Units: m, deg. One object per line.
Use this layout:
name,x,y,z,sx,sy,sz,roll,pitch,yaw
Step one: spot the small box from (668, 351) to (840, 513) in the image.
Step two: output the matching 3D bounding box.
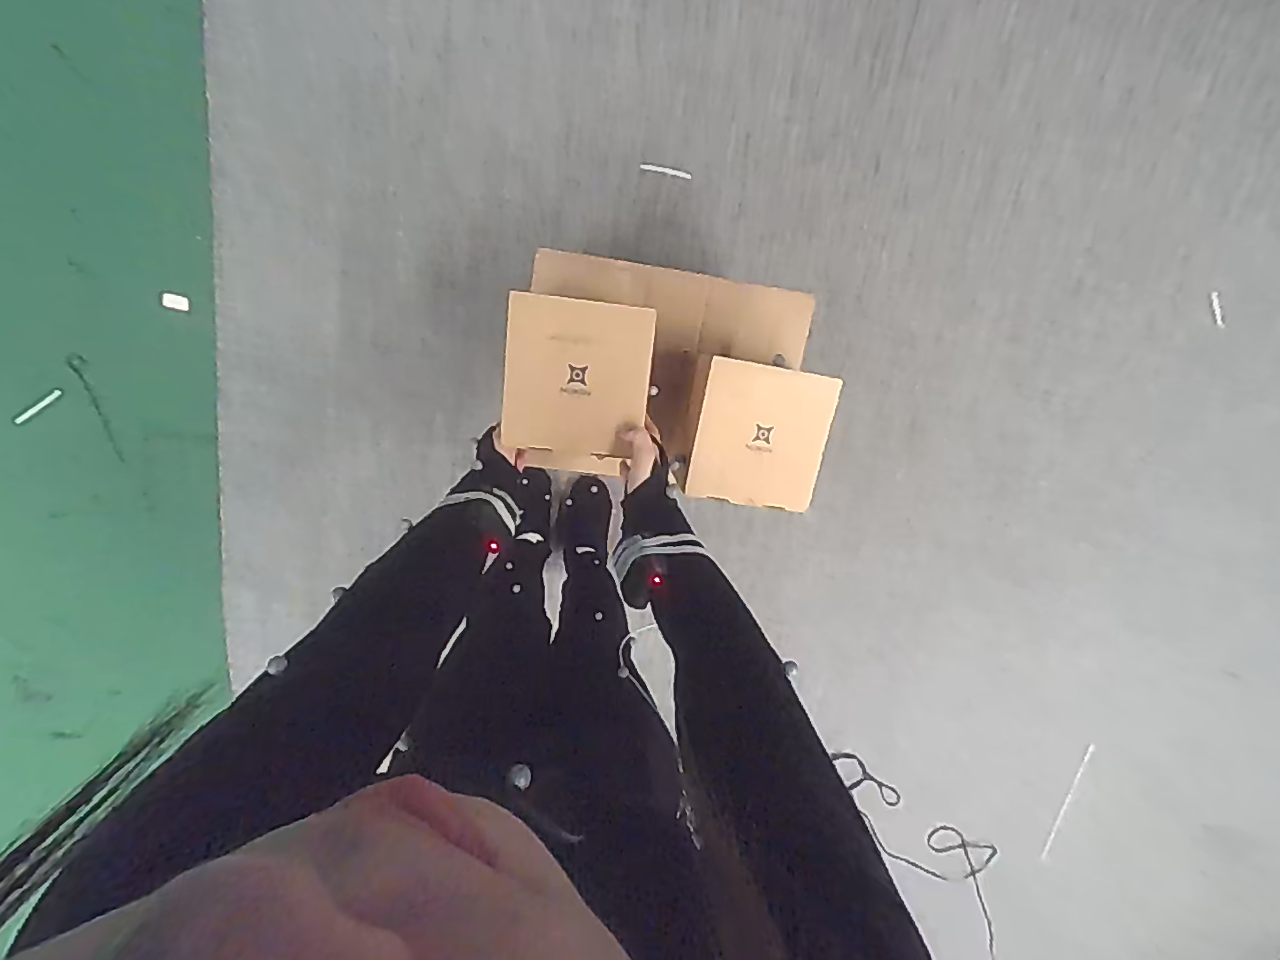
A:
small box,0.141,-0.074,0.742,0.168,0.176,0.179,9,106,-8

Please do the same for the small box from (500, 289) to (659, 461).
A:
small box,-0.075,-0.133,0.694,0.168,0.176,0.179,7,101,-6
